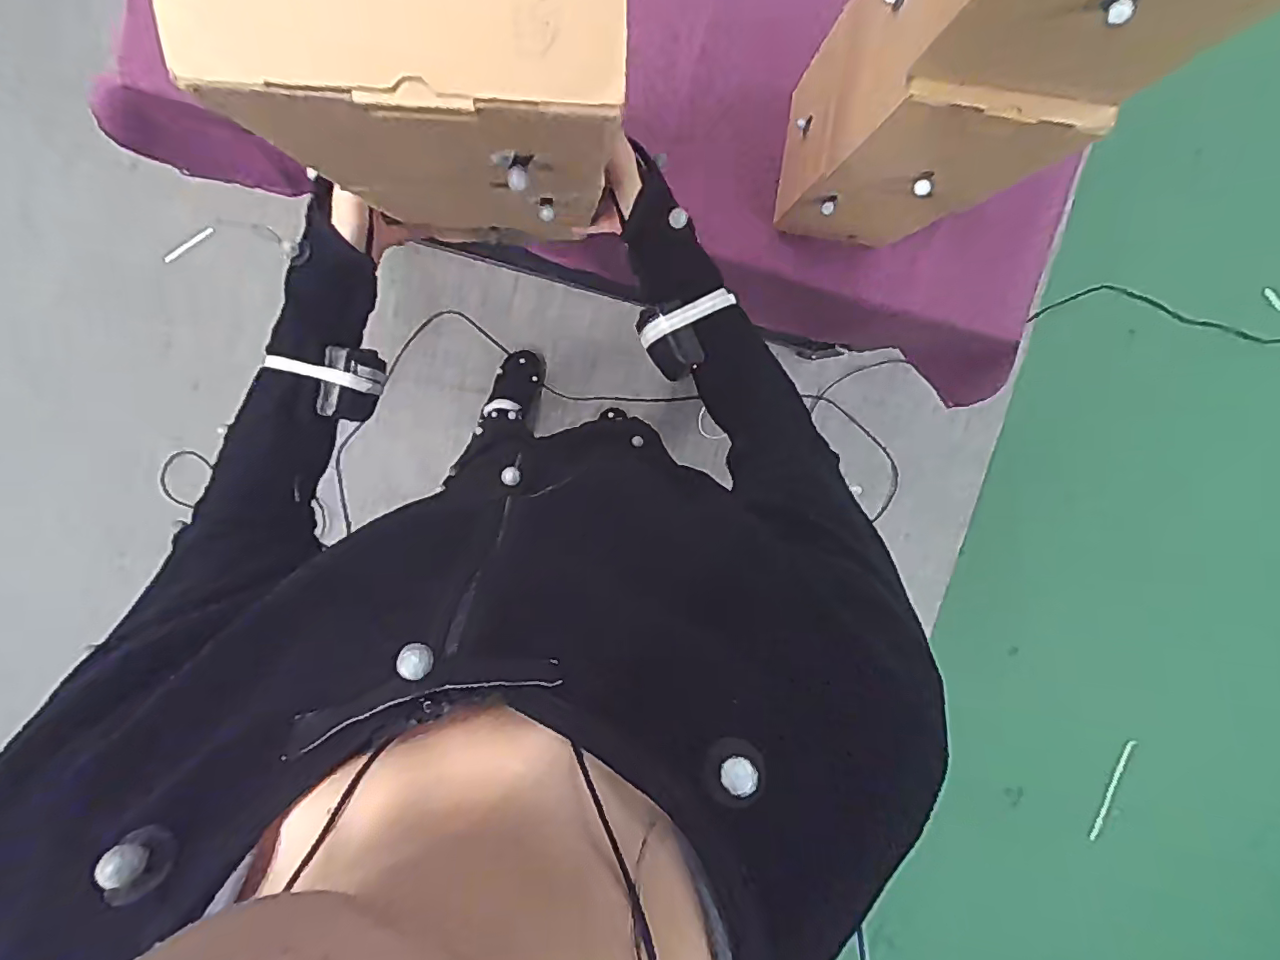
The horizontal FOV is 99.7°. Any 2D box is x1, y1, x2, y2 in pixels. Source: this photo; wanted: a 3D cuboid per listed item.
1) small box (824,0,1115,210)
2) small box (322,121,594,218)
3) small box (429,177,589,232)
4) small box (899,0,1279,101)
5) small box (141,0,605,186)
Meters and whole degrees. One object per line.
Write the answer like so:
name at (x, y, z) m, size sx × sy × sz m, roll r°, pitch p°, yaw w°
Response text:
small box at (0.282, -0.369, 0.477) m, size 0.168 × 0.176 × 0.179 m, roll 7°, pitch 98°, yaw -5°
small box at (-0.129, -0.301, 0.410) m, size 0.179 × 0.176 × 0.168 m, roll -4°, pitch 108°, yaw -9°
small box at (-0.147, -0.358, 0.564) m, size 0.179 × 0.176 × 0.168 m, roll -5°, pitch 109°, yaw -7°
small box at (0.287, -0.357, 0.312) m, size 0.179 × 0.176 × 0.168 m, roll 5°, pitch 97°, yaw -4°
small box at (-0.103, -0.254, 0.256) m, size 0.168 × 0.176 × 0.179 m, roll -1°, pitch 107°, yaw -10°
